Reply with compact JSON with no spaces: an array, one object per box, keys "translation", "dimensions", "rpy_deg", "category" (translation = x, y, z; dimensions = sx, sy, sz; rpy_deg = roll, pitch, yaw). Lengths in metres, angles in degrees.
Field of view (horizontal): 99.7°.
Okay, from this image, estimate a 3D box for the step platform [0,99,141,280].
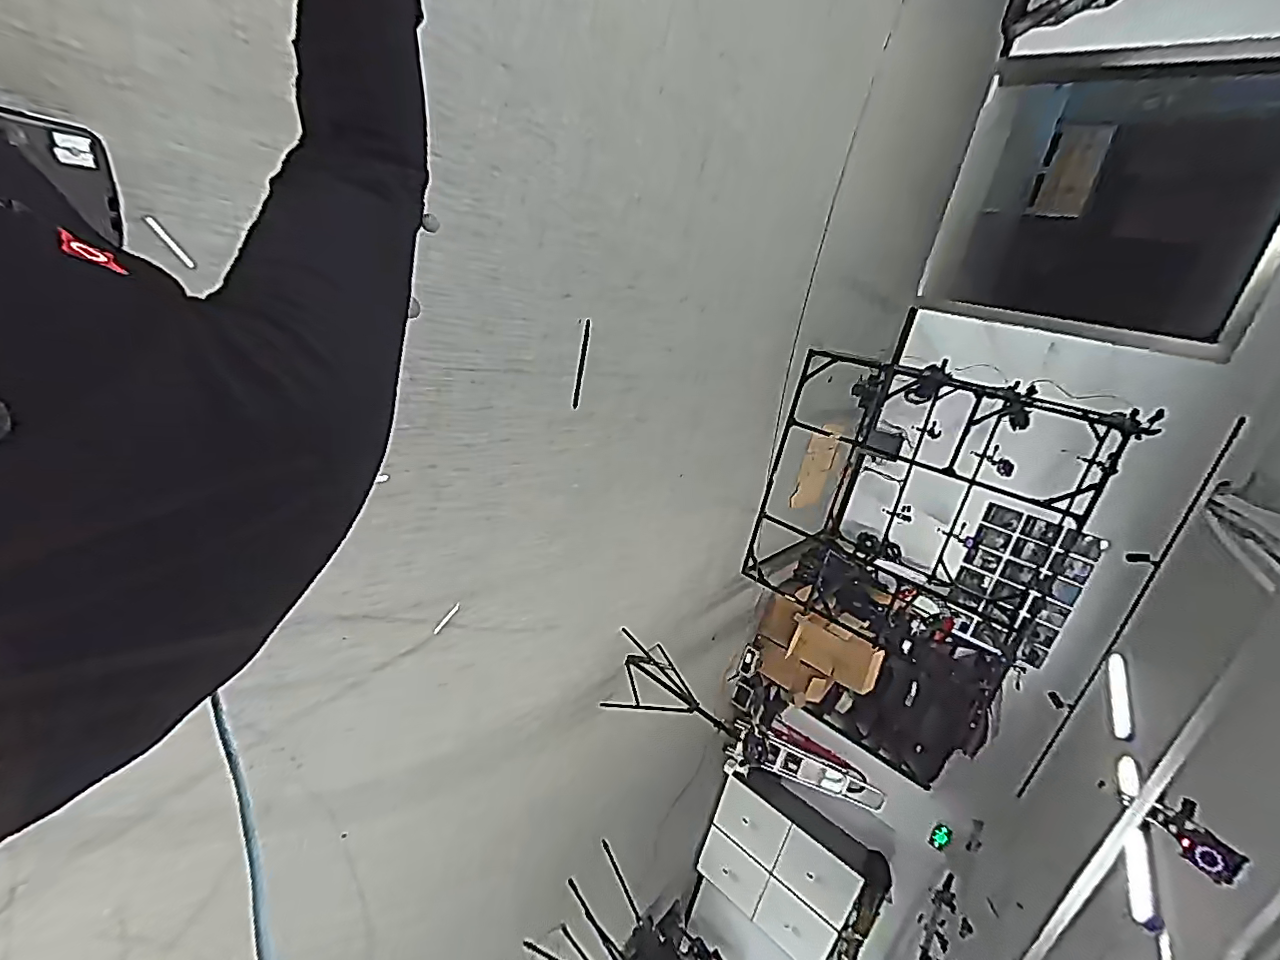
[{"translation":[-1.254,-0.506,0.855],"dimensions":[0.684,0.204,0.286],"rpy_deg":[-15,123,-50],"category":"step platform"}]
